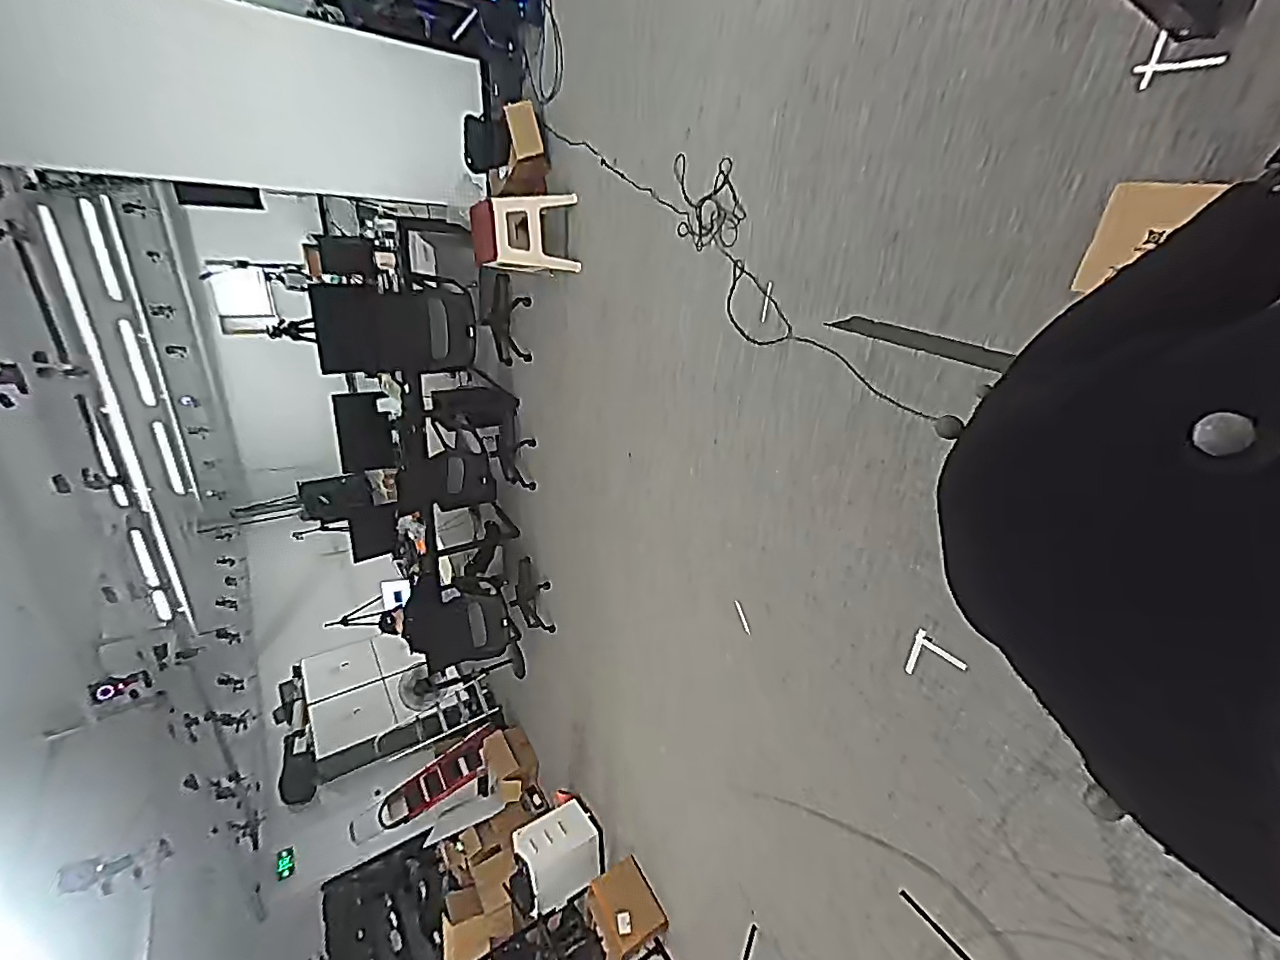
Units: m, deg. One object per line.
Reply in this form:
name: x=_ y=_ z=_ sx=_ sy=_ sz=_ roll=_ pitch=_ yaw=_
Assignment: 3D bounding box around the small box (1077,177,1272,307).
small box: x=0.891 y=-0.396 z=0.904 sx=0.168 sy=0.176 sz=0.179 roll=37 pitch=131 yaw=46
